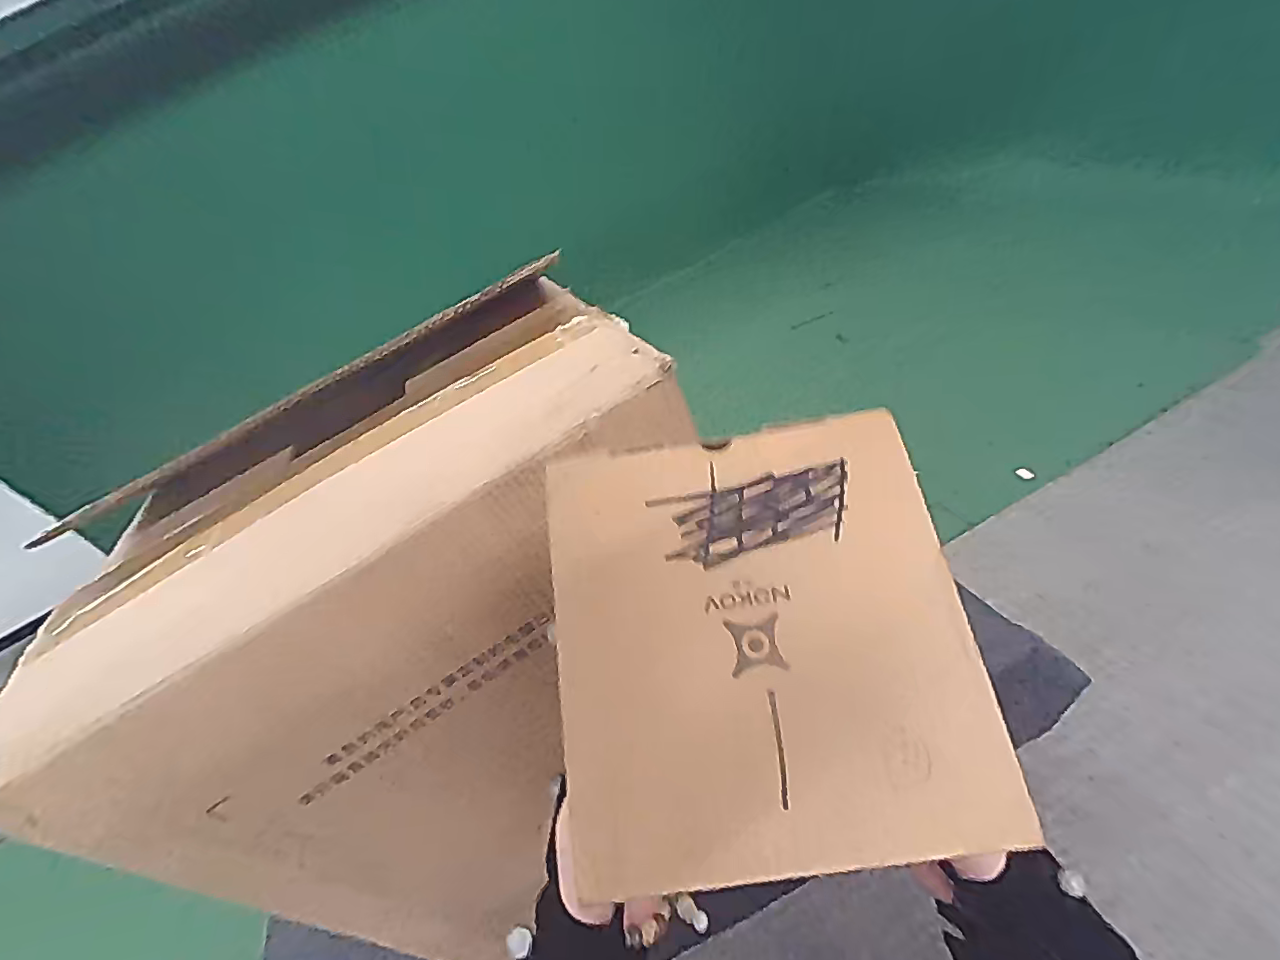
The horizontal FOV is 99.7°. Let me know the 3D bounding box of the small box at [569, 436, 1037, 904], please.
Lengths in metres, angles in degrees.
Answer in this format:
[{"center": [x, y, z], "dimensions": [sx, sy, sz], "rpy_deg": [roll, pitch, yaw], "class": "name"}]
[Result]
[{"center": [0.060, 0.098, 0.302], "dimensions": [0.168, 0.176, 0.179], "rpy_deg": [-8, 67, 3], "class": "small box"}]
